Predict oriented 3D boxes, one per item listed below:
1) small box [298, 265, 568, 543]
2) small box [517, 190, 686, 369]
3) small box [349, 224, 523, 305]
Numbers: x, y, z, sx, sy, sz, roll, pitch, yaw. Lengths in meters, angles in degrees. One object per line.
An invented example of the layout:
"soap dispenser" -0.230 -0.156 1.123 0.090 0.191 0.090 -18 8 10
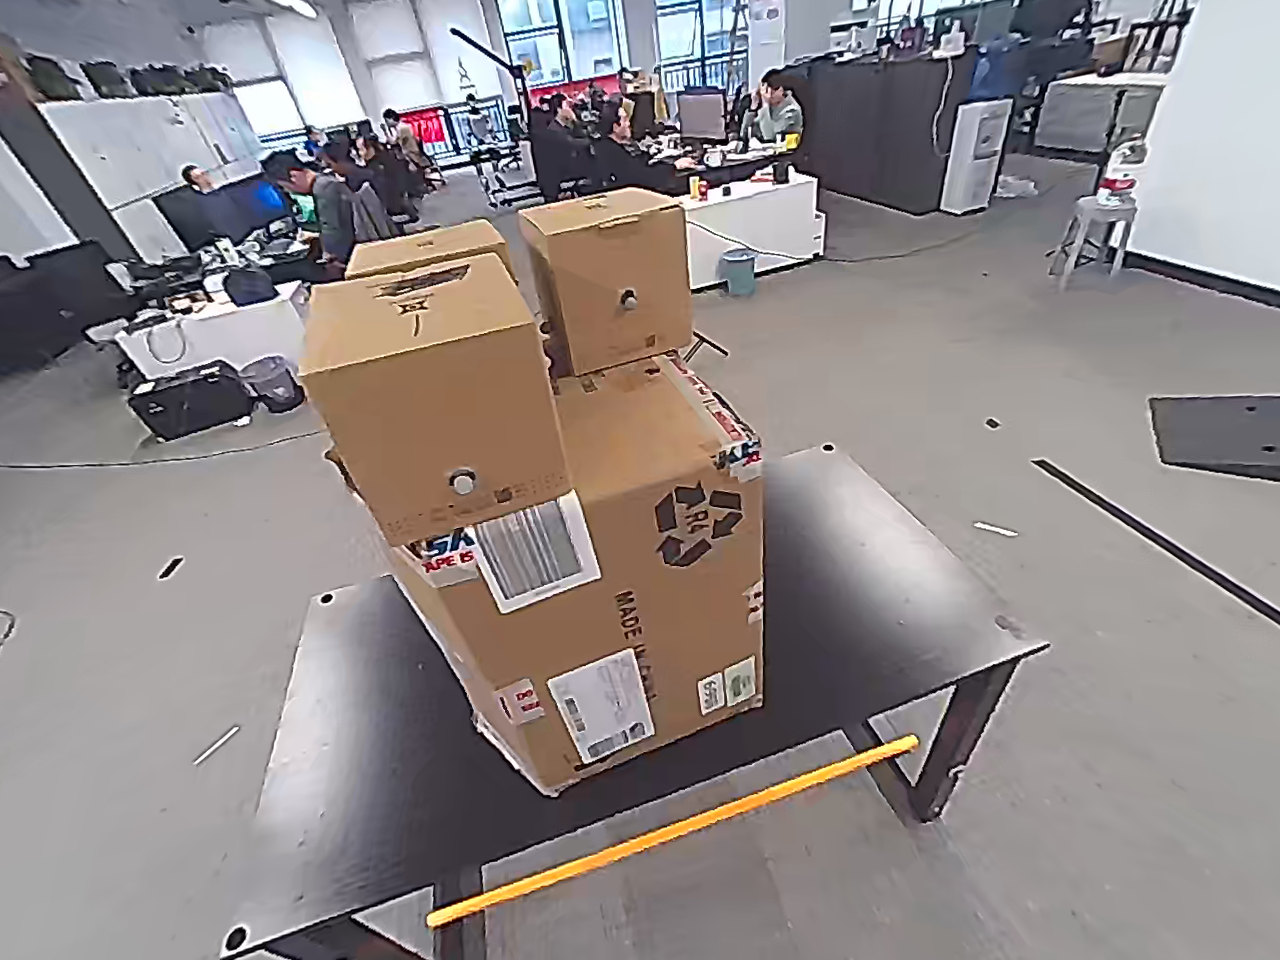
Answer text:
"small box" -0.175 -0.074 0.492 0.168 0.176 0.179 -18 41 -13
"small box" -0.047 -0.259 0.704 0.168 0.176 0.179 -17 38 -13
"small box" -0.235 -0.201 0.672 0.168 0.176 0.179 -20 38 -12
